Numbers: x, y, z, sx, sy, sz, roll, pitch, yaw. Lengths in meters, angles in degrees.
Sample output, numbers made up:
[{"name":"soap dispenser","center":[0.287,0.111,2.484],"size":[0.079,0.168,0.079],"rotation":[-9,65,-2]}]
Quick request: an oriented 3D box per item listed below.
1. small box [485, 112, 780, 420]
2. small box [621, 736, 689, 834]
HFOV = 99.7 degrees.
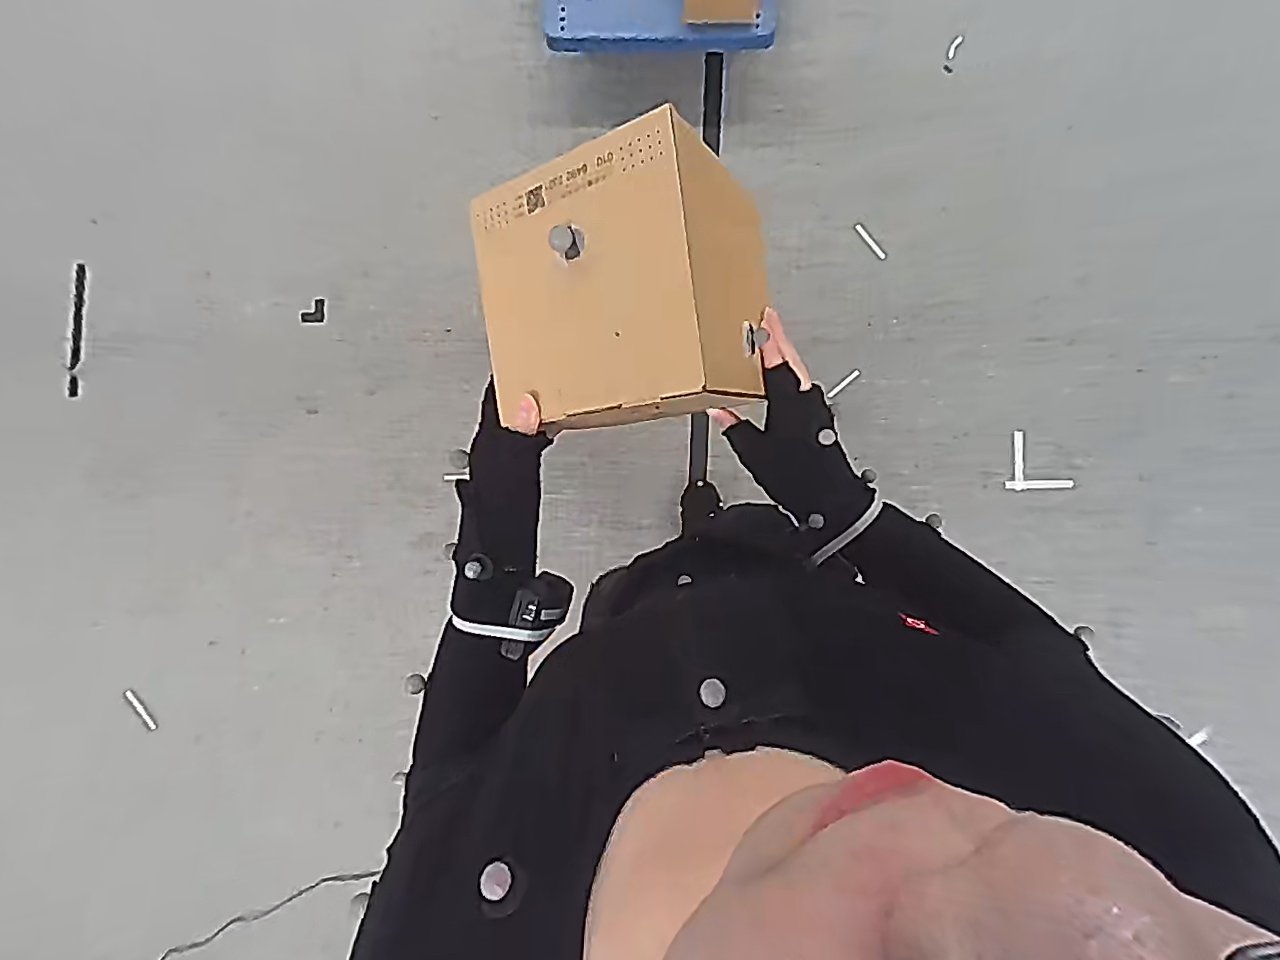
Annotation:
[{"name":"small box","center":[0.003,-0.143,0.429],"size":[0.168,0.179,0.176],"rotation":[-6,93,29]},{"name":"small box","center":[0.039,0.793,1.423],"size":[0.168,0.176,0.179],"rotation":[-4,90,3]}]
